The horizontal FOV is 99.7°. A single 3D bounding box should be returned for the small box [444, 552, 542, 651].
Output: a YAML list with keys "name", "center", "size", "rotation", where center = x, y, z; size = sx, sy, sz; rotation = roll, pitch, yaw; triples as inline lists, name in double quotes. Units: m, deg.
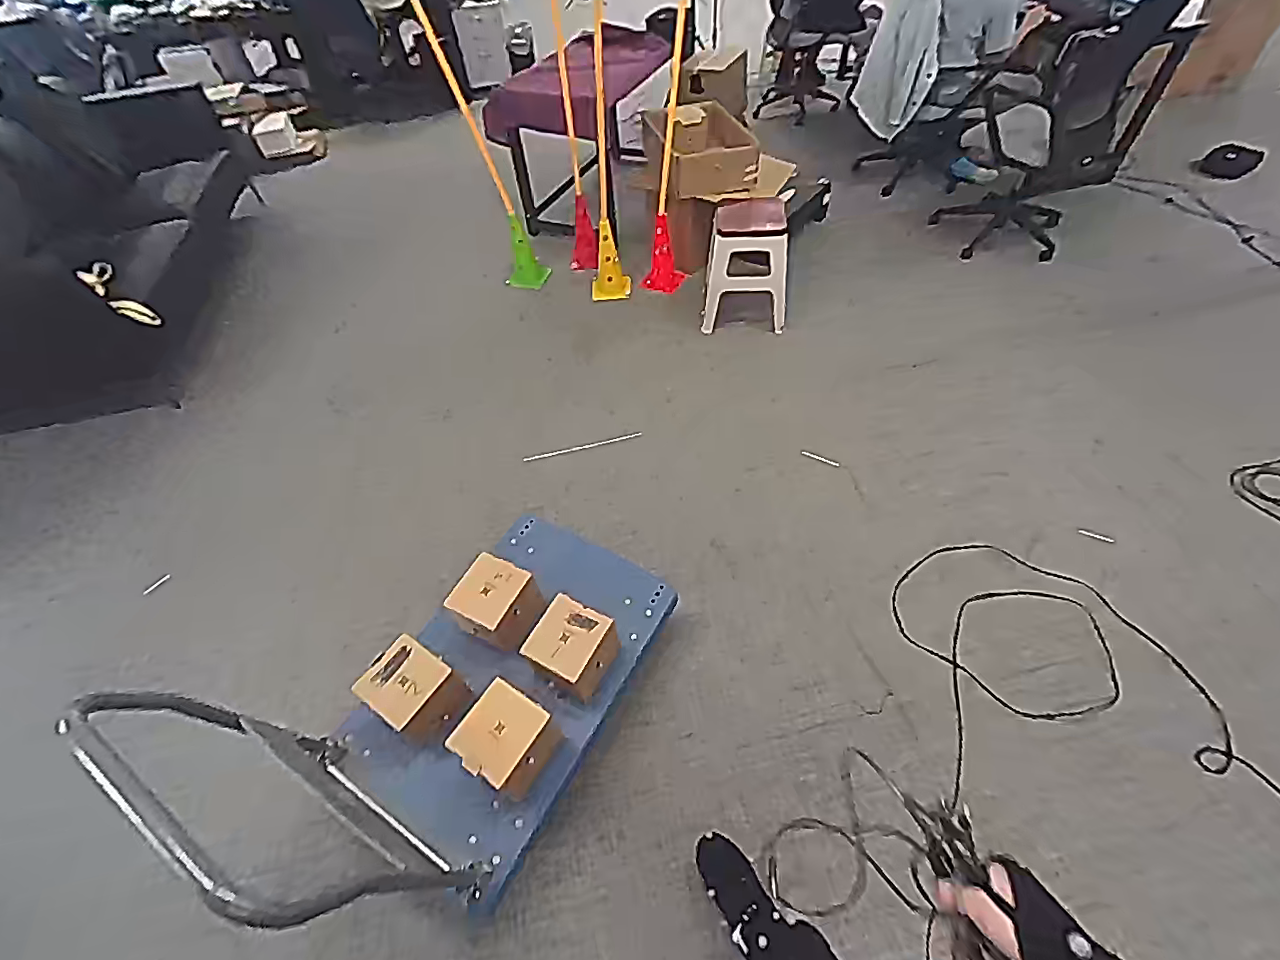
- name: "small box"
  center: [-0.385, 0.331, 1.458]
  size: [0.168, 0.176, 0.179]
  rotation: [21, 56, 19]

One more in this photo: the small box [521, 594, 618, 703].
- name: "small box"
  center: [-0.168, 0.426, 1.363]
  size: [0.168, 0.176, 0.179]
  rotation: [22, 58, 22]

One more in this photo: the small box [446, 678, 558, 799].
- name: "small box"
  center: [-0.305, 0.596, 1.244]
  size: [0.168, 0.176, 0.179]
  rotation: [26, 59, 23]
